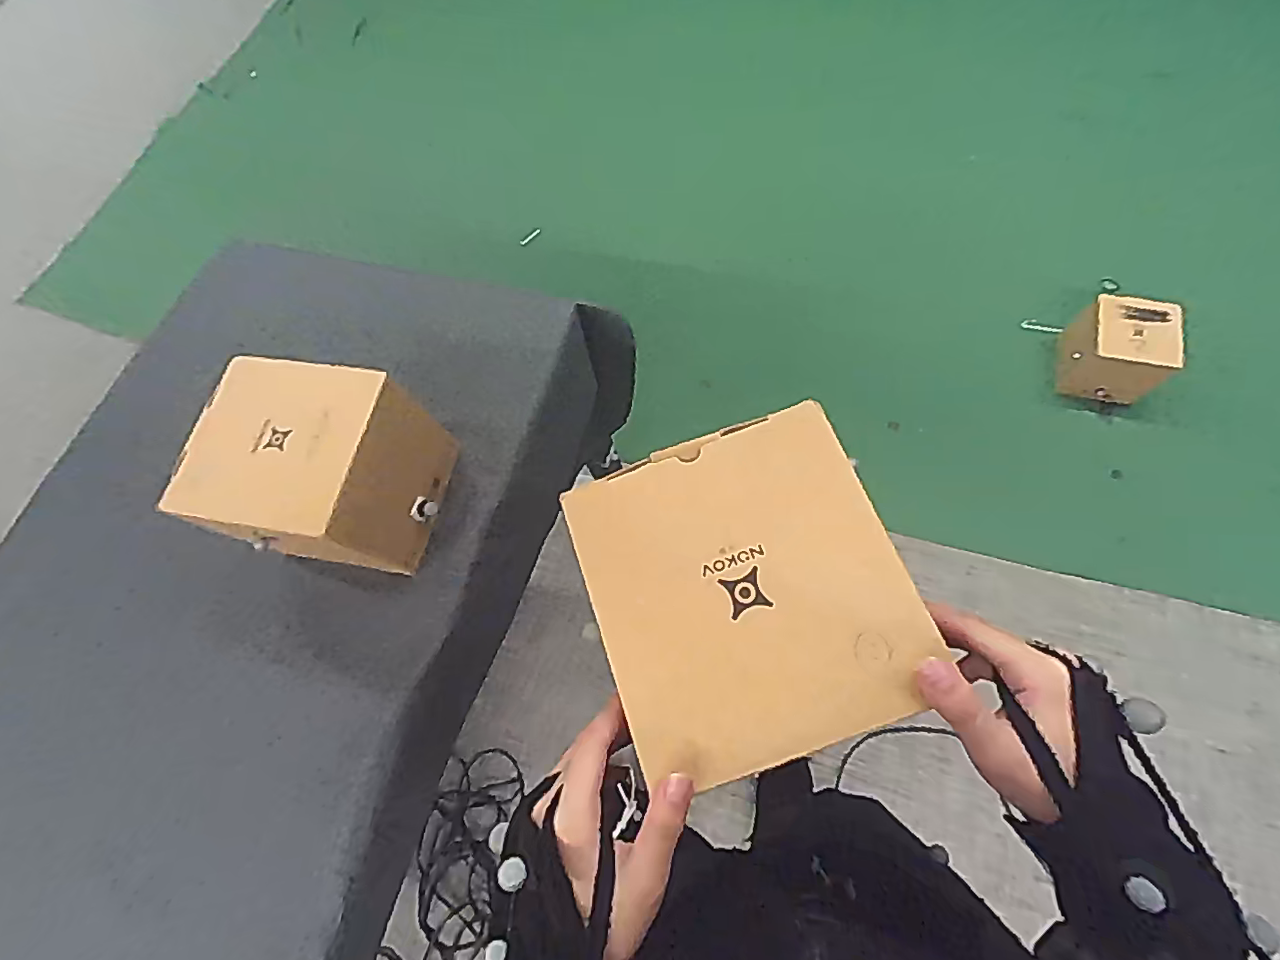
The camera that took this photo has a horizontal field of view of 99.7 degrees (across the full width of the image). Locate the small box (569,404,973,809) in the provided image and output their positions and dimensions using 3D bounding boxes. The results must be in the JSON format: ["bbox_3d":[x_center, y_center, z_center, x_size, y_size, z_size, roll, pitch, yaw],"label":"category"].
[{"bbox_3d":[0.071,0.083,0.364,0.168,0.176,0.179,-20,69,1],"label":"small box"}]

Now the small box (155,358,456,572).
[{"bbox_3d":[-0.326,-0.007,0.567,0.179,0.176,0.168,7,71,9],"label":"small box"}]
